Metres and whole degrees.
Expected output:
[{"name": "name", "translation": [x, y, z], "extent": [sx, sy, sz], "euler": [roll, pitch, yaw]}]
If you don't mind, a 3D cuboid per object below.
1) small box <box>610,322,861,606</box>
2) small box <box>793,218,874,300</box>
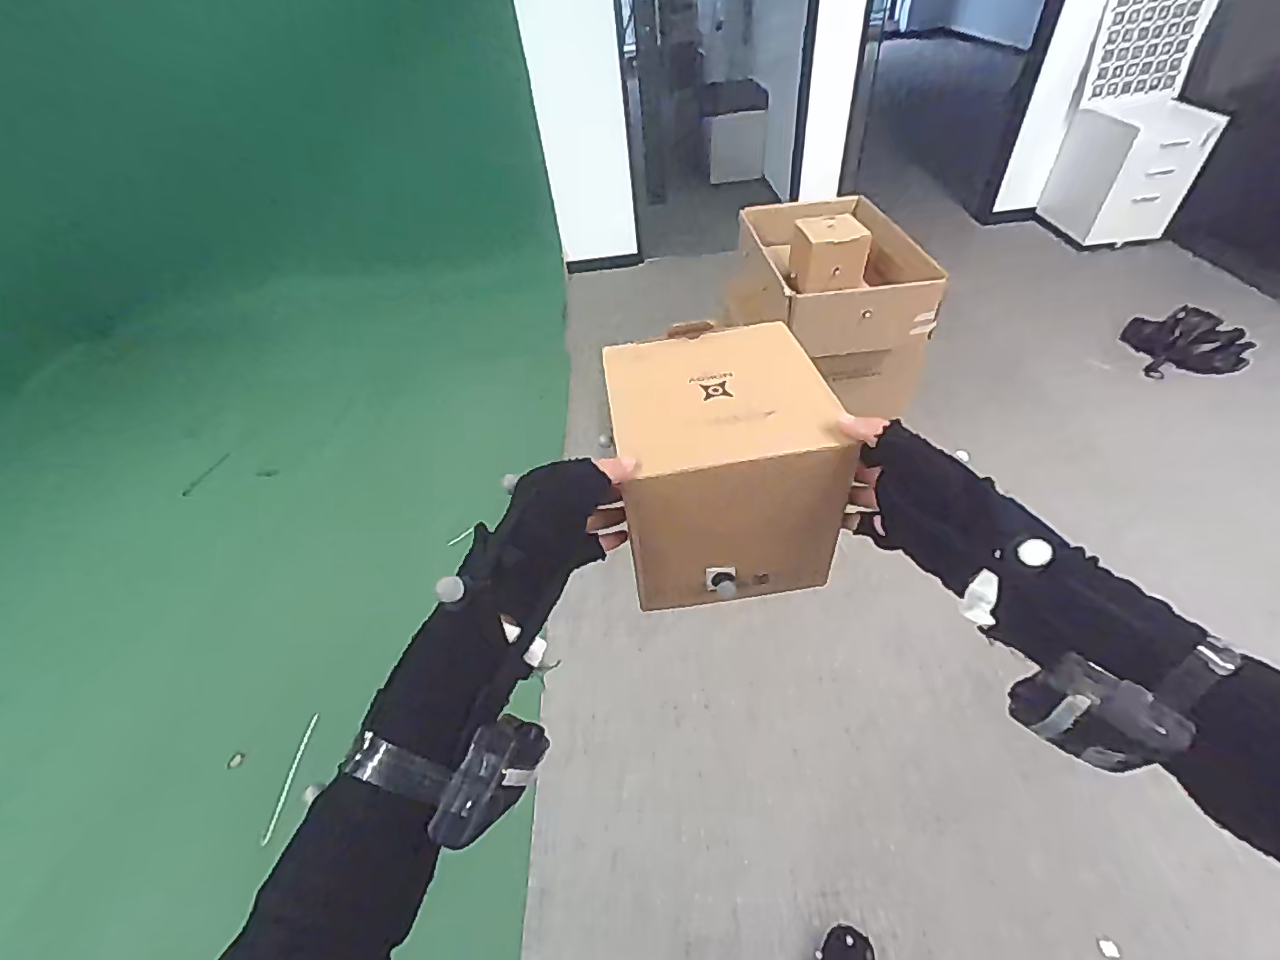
[{"name": "small box", "translation": [0.065, -0.016, 0.474], "extent": [0.168, 0.176, 0.179], "euler": [-8, 43, -1]}, {"name": "small box", "translation": [0.553, -0.635, 1.570], "extent": [0.168, 0.176, 0.179], "euler": [-6, 45, 0]}]
